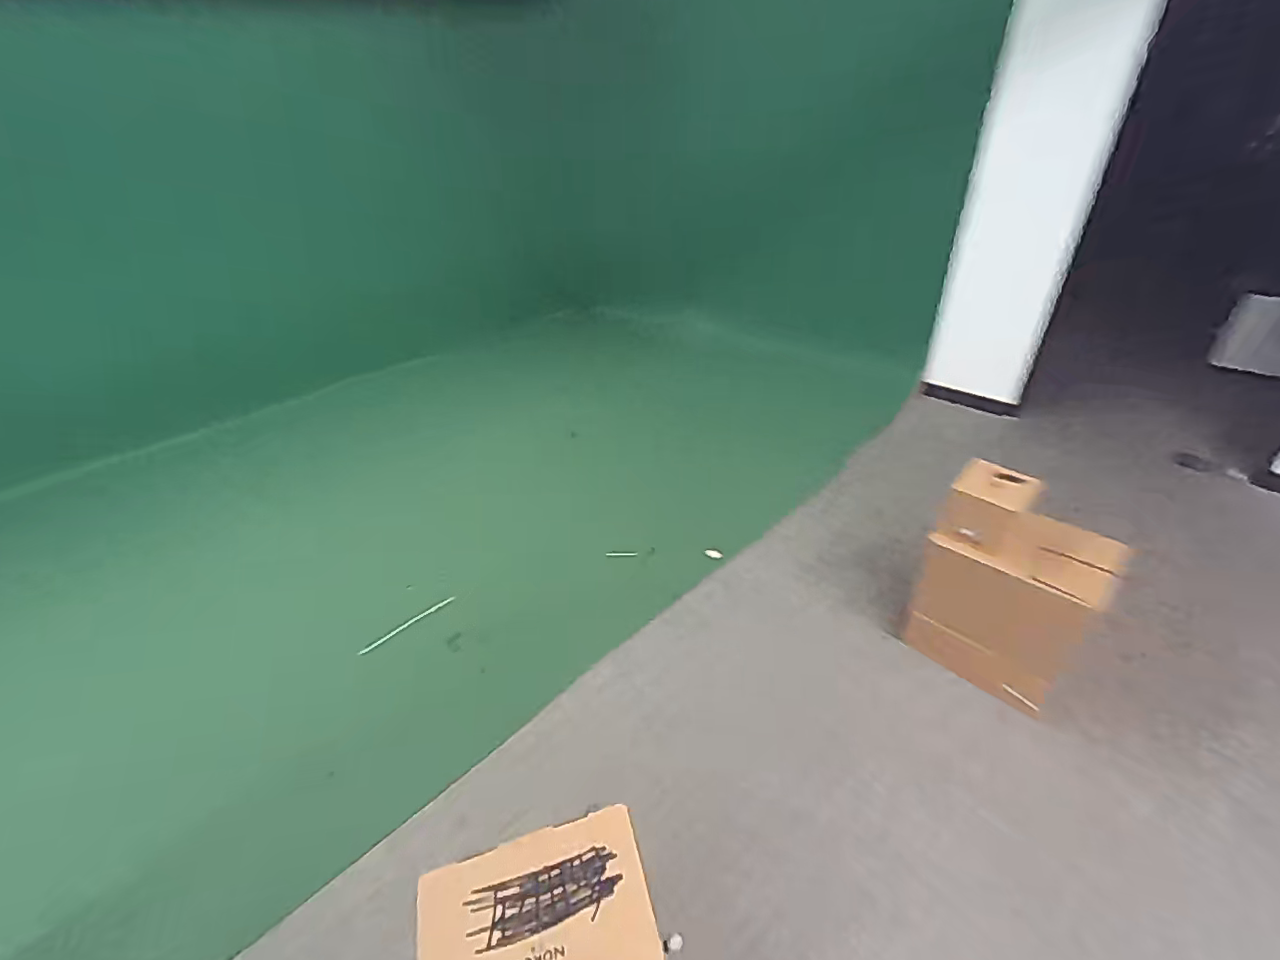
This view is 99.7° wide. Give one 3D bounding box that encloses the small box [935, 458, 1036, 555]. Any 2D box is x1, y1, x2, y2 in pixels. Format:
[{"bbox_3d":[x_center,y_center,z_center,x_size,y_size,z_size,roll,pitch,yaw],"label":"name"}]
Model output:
[{"bbox_3d":[0.952,0.073,1.501,0.179,0.176,0.168,-33,45,-30],"label":"small box"}]
